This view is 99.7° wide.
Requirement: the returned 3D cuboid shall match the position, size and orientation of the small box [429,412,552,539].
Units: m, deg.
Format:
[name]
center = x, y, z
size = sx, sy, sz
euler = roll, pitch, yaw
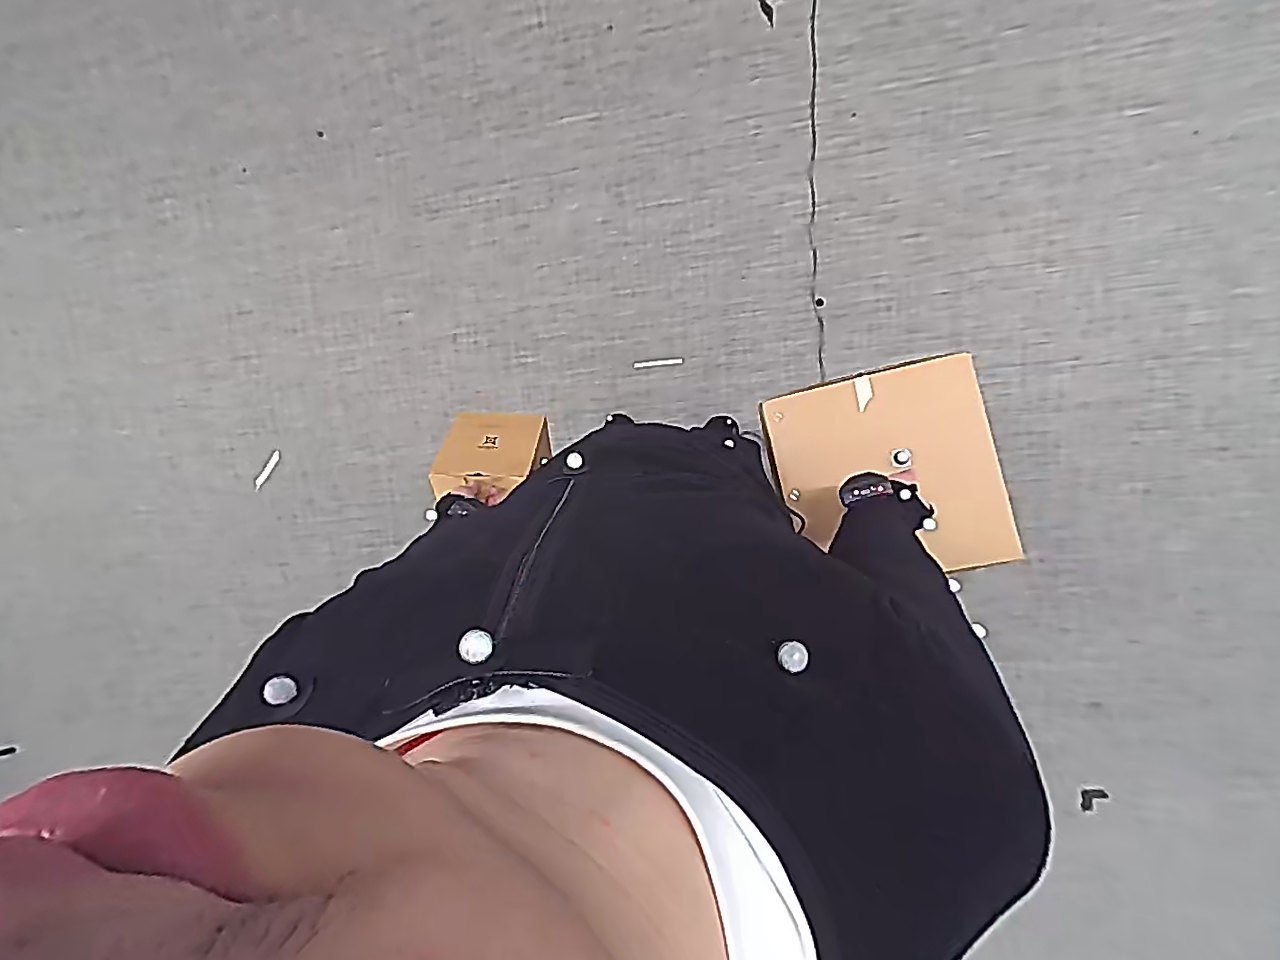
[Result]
[small box]
center = -0.260, -0.007, 0.994
size = 0.168, 0.179, 0.176
euler = 1, 134, 2
